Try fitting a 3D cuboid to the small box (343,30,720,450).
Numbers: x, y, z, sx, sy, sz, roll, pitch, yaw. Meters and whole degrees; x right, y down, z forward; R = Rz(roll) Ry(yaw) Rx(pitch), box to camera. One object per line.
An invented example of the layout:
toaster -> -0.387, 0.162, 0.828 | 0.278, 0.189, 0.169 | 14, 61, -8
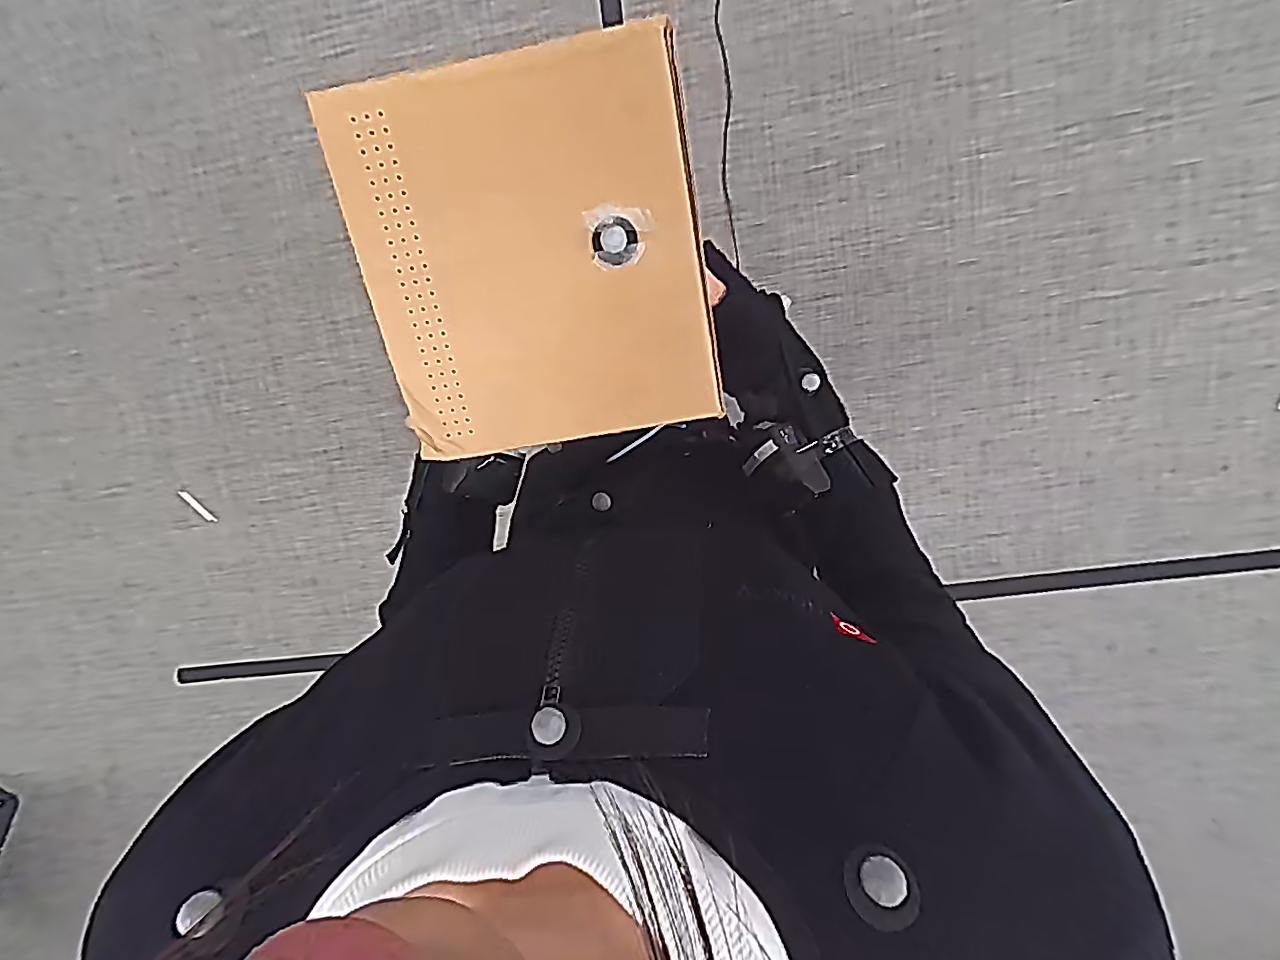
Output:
small box -> -0.052, -0.132, 0.347 | 0.176, 0.168, 0.179 | -9, 108, 5
